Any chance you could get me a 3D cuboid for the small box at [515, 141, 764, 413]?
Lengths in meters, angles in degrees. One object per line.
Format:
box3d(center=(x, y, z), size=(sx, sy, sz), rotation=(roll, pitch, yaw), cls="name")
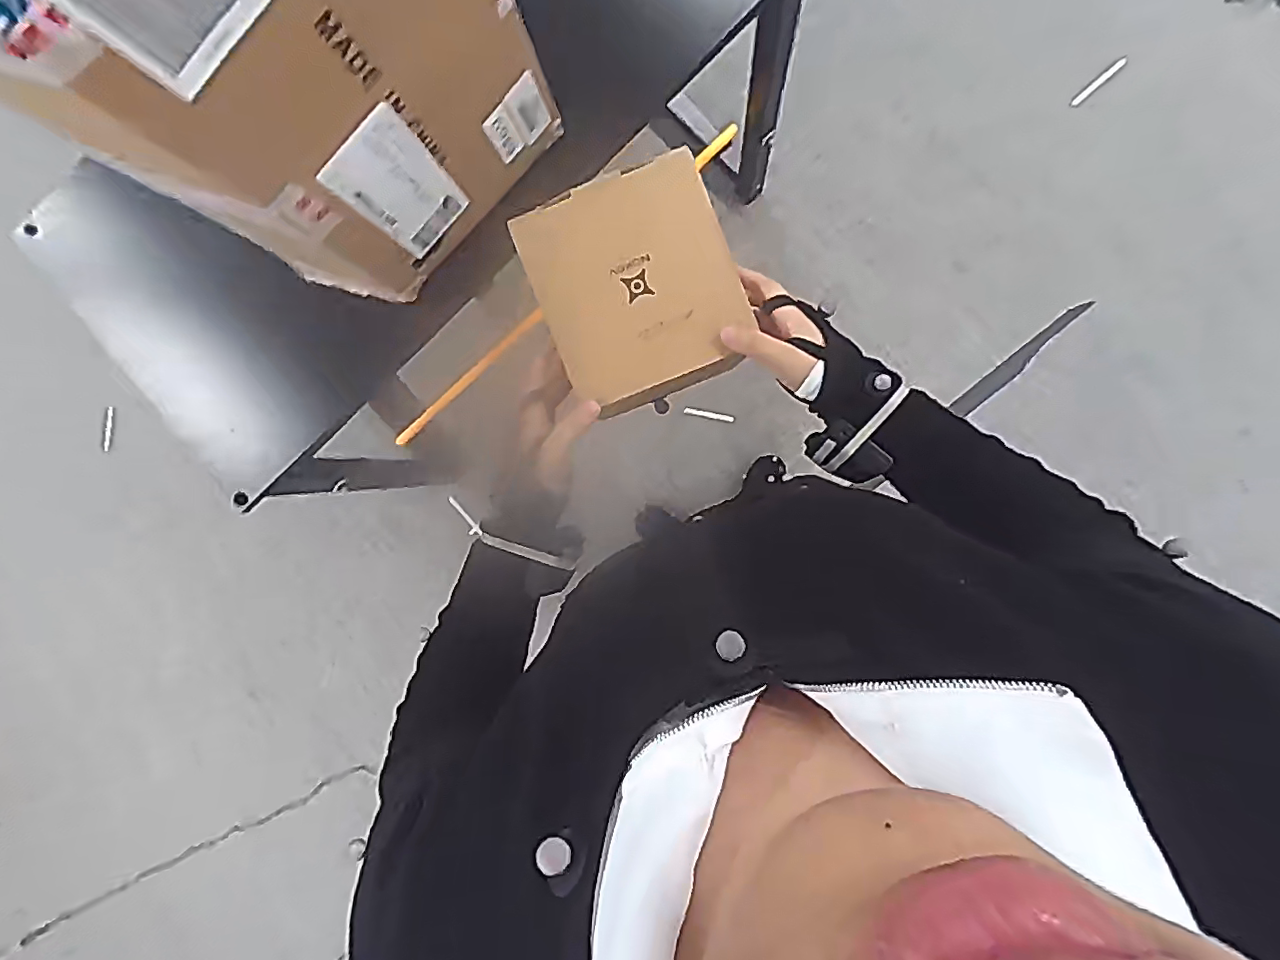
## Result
box3d(center=(0.000, -0.176, 0.530), size=(0.168, 0.176, 0.179), rotation=(-21, 94, 3), cls="small box")
